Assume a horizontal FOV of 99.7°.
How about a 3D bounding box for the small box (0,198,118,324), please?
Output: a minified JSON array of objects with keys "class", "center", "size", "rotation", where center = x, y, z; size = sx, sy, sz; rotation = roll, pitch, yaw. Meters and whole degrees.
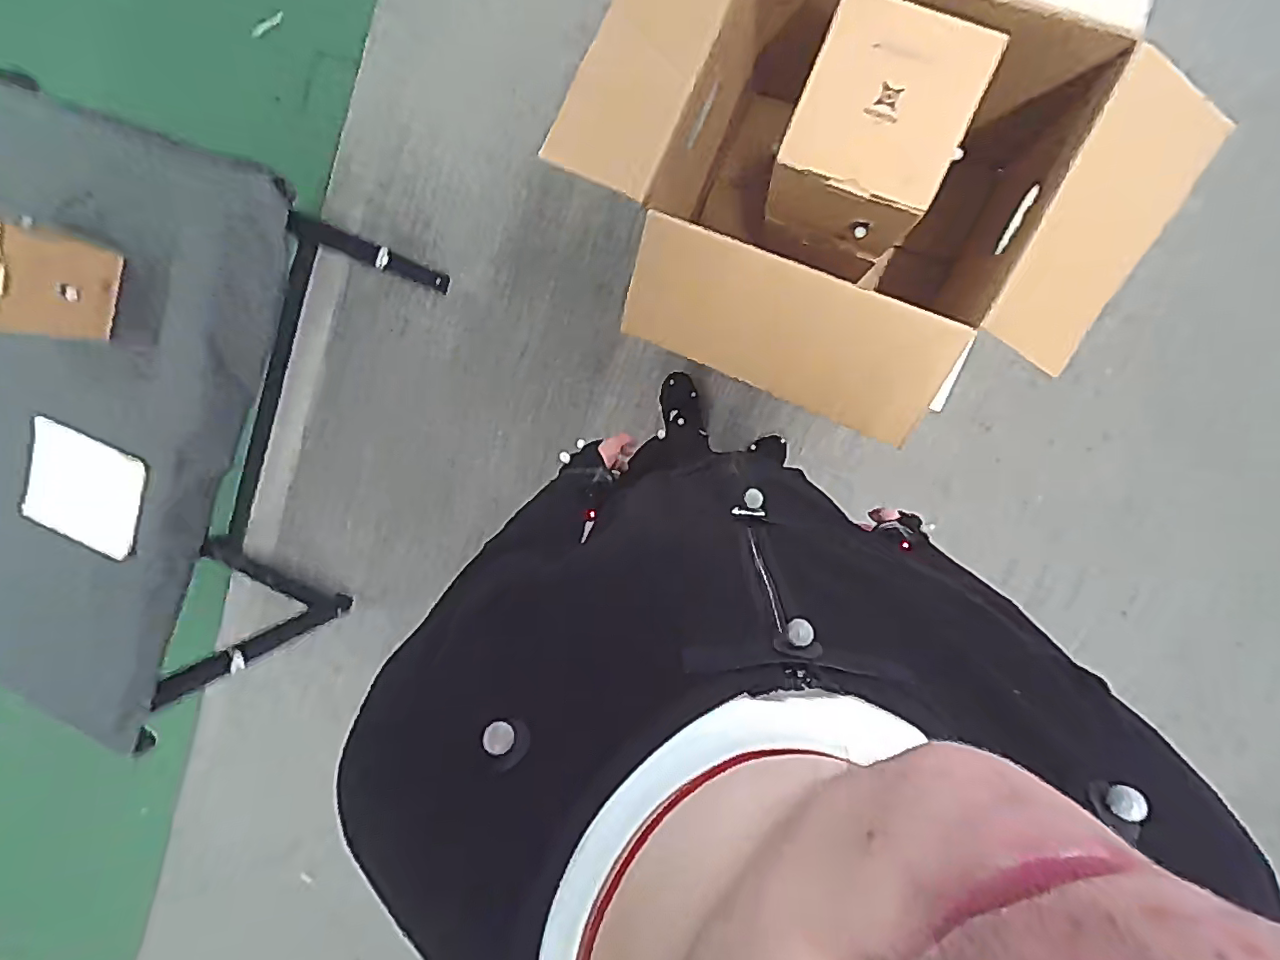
[{"class":"small box","center":[-1.060,-0.378,0.926],"size":[0.179,0.176,0.168],"rotation":[24,101,6]}]
